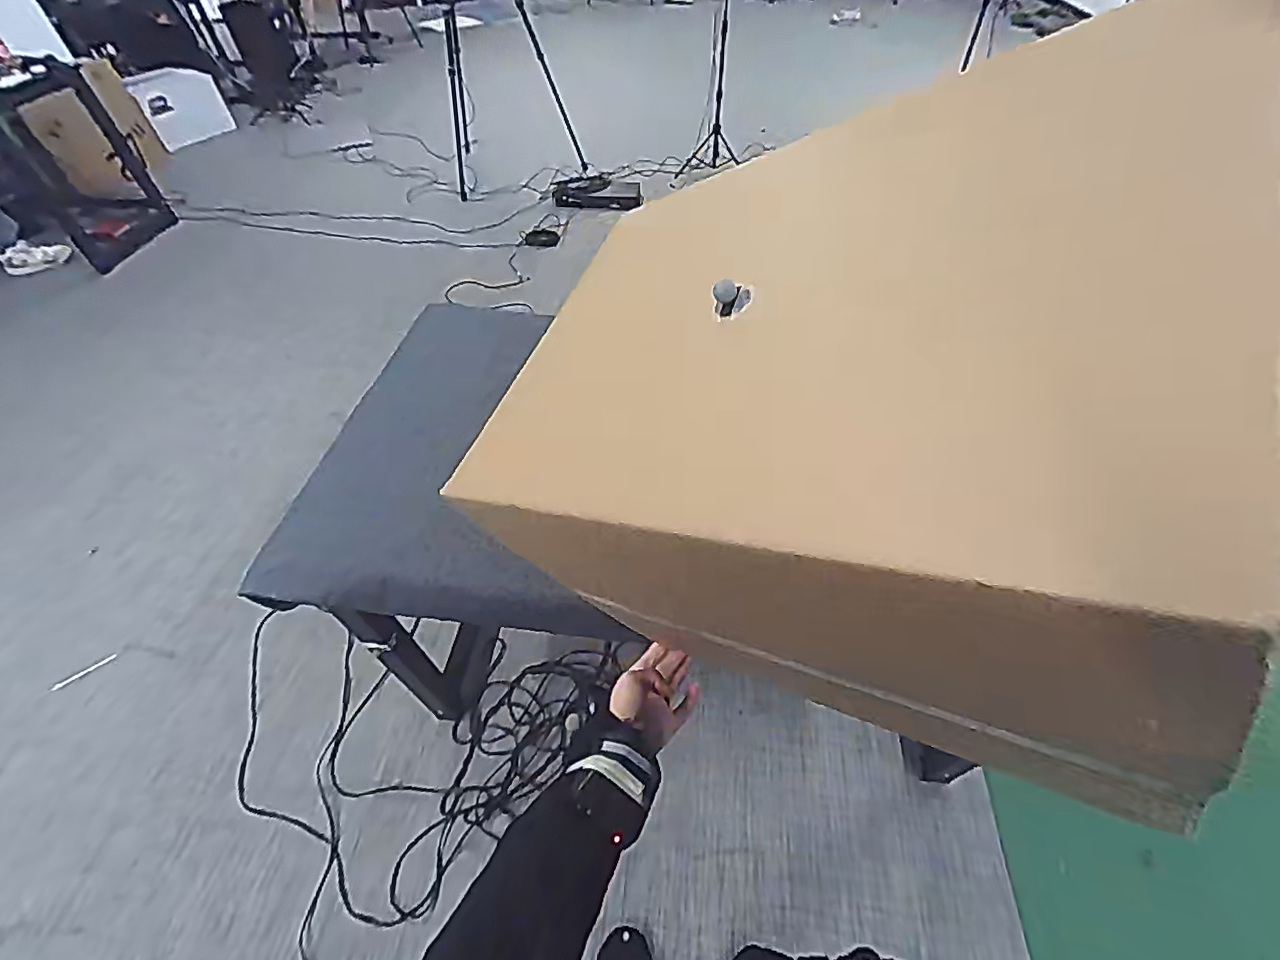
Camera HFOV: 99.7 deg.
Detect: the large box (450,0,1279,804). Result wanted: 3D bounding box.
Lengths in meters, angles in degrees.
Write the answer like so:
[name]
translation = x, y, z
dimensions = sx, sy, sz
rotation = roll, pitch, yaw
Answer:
[large box]
translation = 0.142, -0.017, 0.406
dimensions = 0.408, 0.320, 0.320
rotation = 3, 59, 43
